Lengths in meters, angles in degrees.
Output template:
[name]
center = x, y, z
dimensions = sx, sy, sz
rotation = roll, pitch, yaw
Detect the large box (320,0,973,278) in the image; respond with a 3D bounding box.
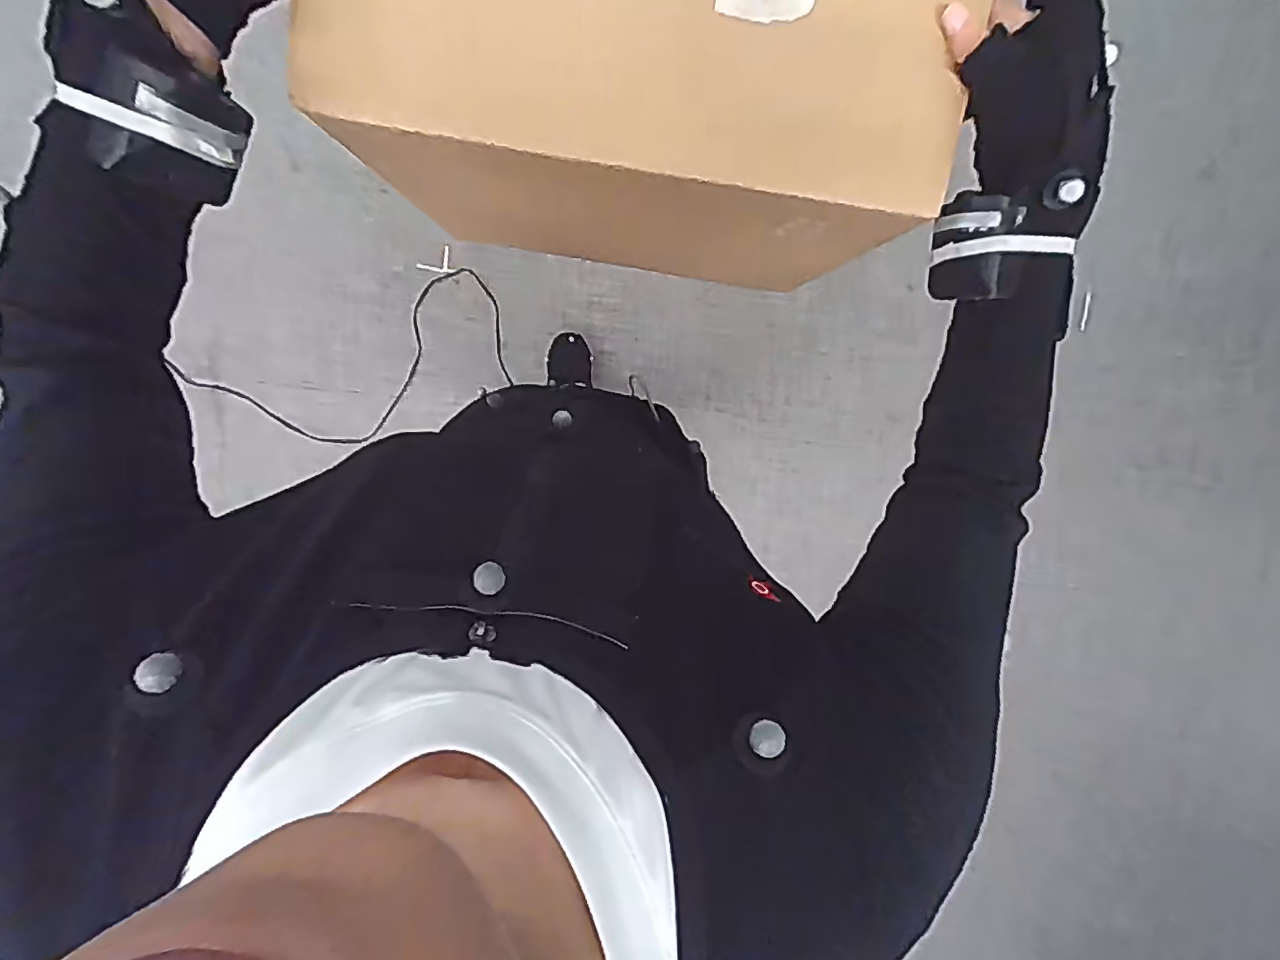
[large box]
center = 0.009, -0.384, 0.466
dimensions = 0.408, 0.320, 0.320
rotation = 7, 101, -4
